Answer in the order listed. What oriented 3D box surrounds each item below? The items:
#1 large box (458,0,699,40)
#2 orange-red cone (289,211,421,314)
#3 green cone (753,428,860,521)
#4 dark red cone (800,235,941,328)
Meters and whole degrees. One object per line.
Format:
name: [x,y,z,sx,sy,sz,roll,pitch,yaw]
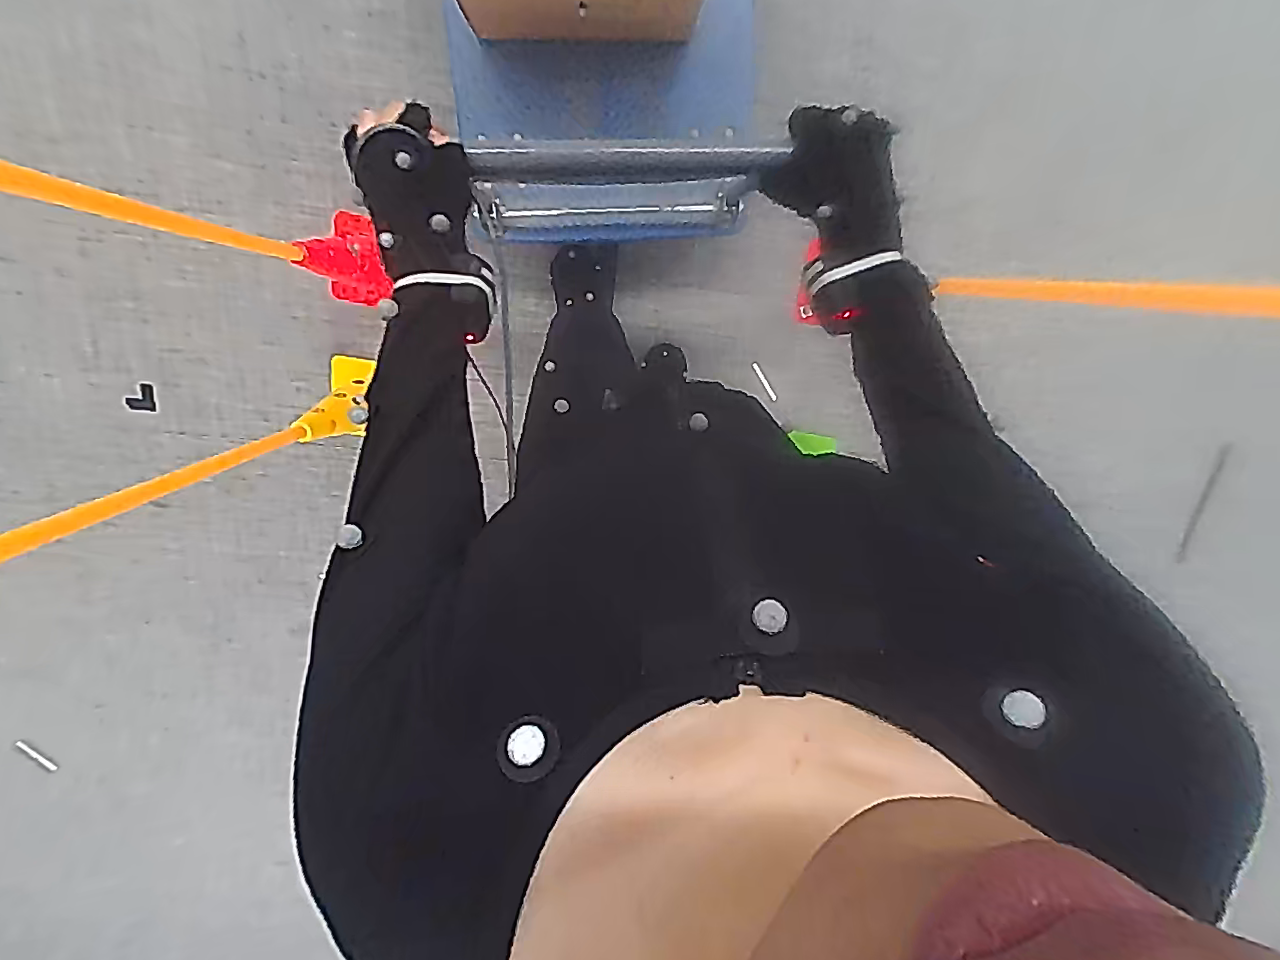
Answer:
large box: [-0.102,-0.928,0.837,0.408,0.320,0.320,-1,109,-2]
orange-red cone: [-0.616,-0.460,1.118,0.198,0.360,0.199,12,106,-8]
green cone: [0.439,0.017,1.341,0.202,0.368,0.200,9,108,-8]
dark red cone: [0.516,-0.433,1.176,0.201,0.394,0.202,5,109,-7]
